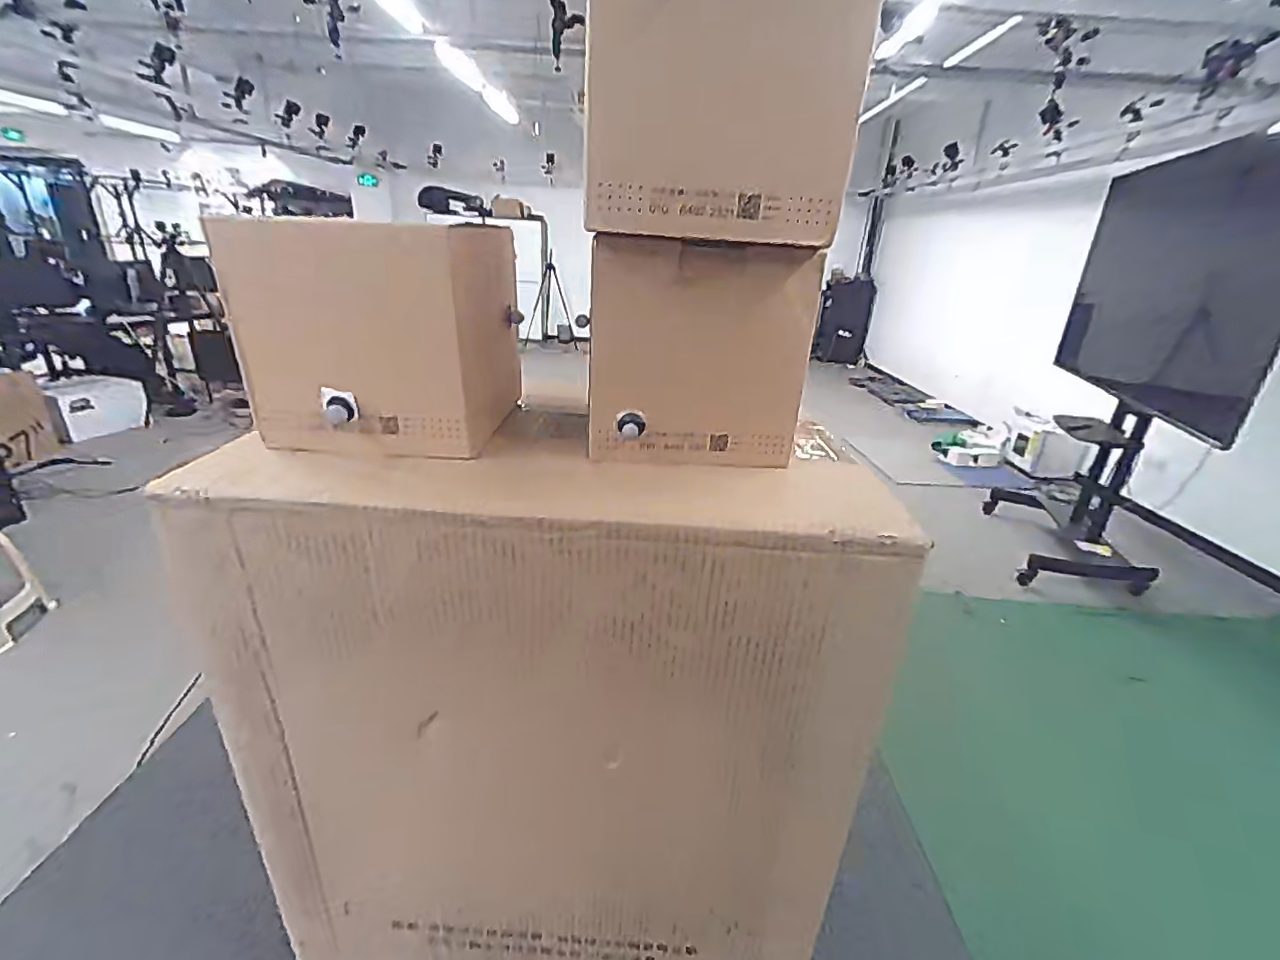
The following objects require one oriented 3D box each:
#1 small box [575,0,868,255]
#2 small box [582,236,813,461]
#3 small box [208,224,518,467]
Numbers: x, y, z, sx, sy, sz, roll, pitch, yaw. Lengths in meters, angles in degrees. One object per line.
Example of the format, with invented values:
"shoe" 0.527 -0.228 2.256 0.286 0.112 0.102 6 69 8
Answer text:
"small box" 0.041 -0.262 0.393 0.168 0.176 0.179 1 24 -3
"small box" 0.035 -0.122 0.479 0.168 0.176 0.179 1 24 -4
"small box" -0.206 -0.123 0.465 0.168 0.176 0.179 1 26 1
